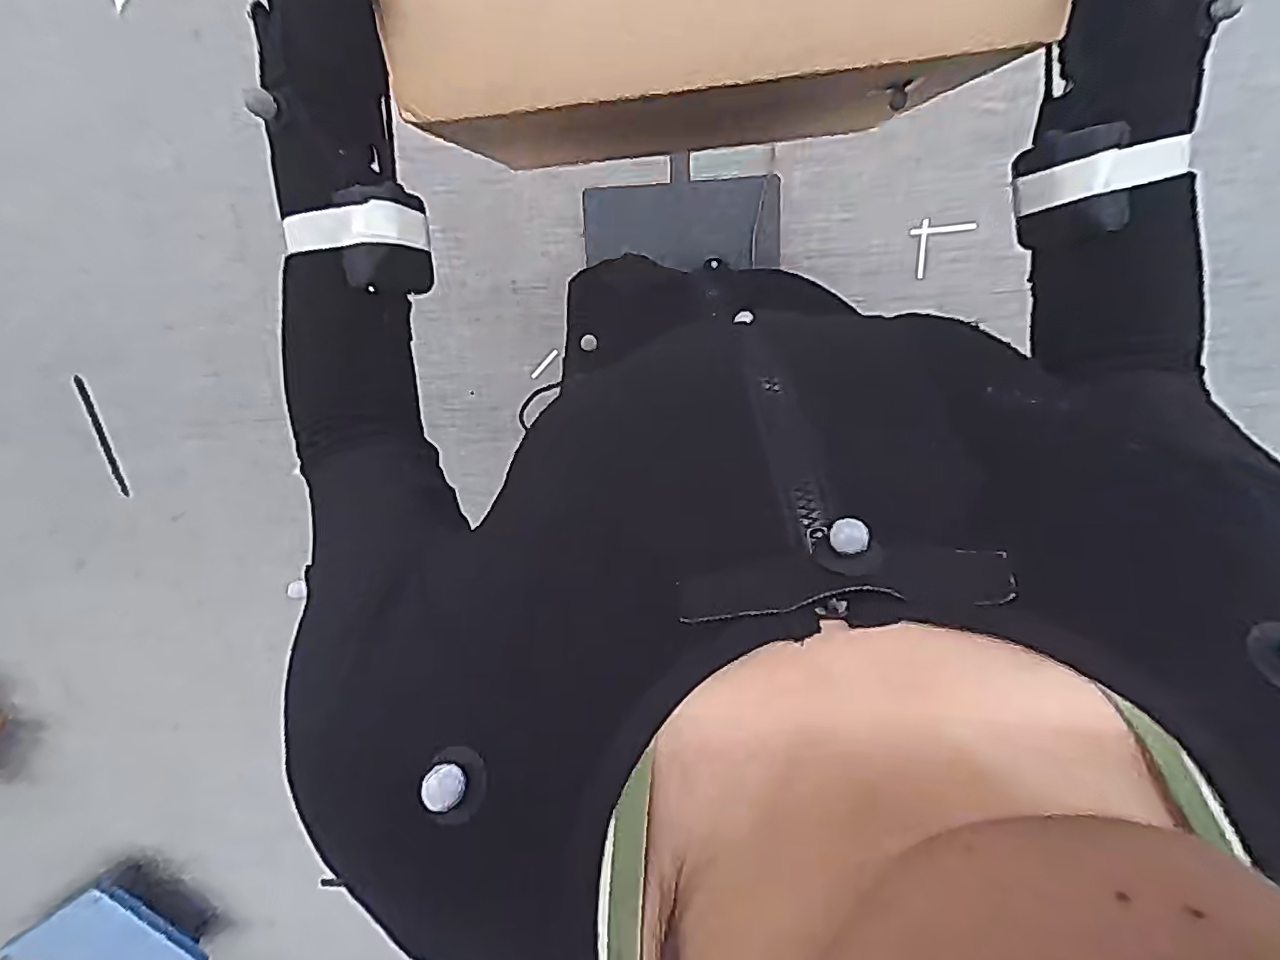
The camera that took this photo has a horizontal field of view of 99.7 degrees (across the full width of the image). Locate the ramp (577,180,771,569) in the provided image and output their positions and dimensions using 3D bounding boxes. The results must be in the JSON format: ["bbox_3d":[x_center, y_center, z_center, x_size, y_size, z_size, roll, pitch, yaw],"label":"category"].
[{"bbox_3d":[0.098,-0.246,1.434,0.509,0.206,0.991,-3,109,6],"label":"ramp"}]

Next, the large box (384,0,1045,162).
[{"bbox_3d":[0.034,-0.452,0.411,0.408,0.320,0.320,-5,115,2],"label":"large box"}]
